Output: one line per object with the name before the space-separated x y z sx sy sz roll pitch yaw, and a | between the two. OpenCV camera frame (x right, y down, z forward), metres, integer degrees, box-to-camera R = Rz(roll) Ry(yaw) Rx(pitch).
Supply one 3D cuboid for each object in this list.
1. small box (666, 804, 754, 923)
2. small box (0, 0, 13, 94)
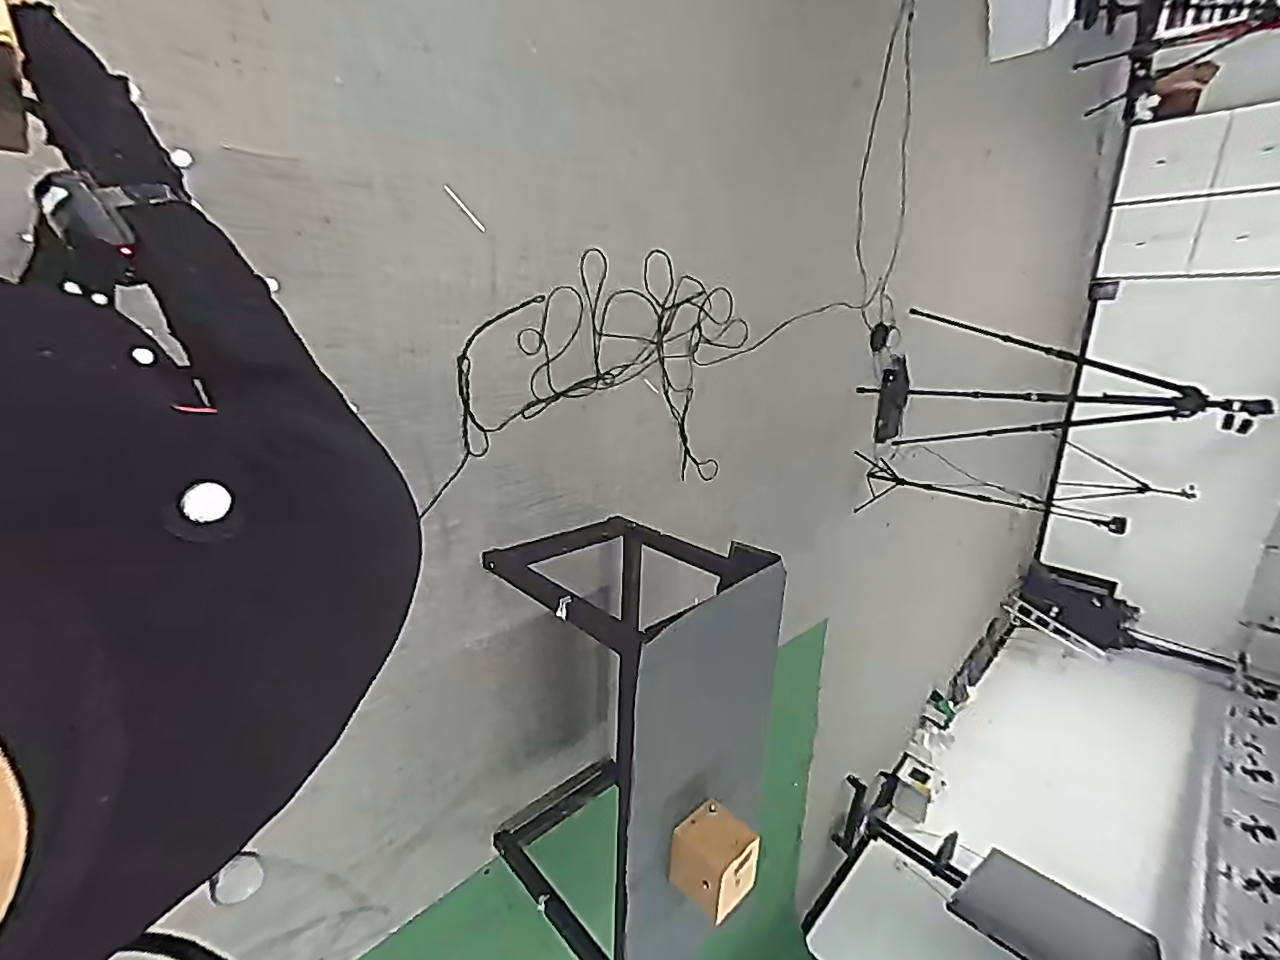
small box | 0.187 1.025 1.468 0.168 0.176 0.179 -11 110 -43
small box | -0.468 -0.339 0.277 0.168 0.176 0.179 -15 113 -44
